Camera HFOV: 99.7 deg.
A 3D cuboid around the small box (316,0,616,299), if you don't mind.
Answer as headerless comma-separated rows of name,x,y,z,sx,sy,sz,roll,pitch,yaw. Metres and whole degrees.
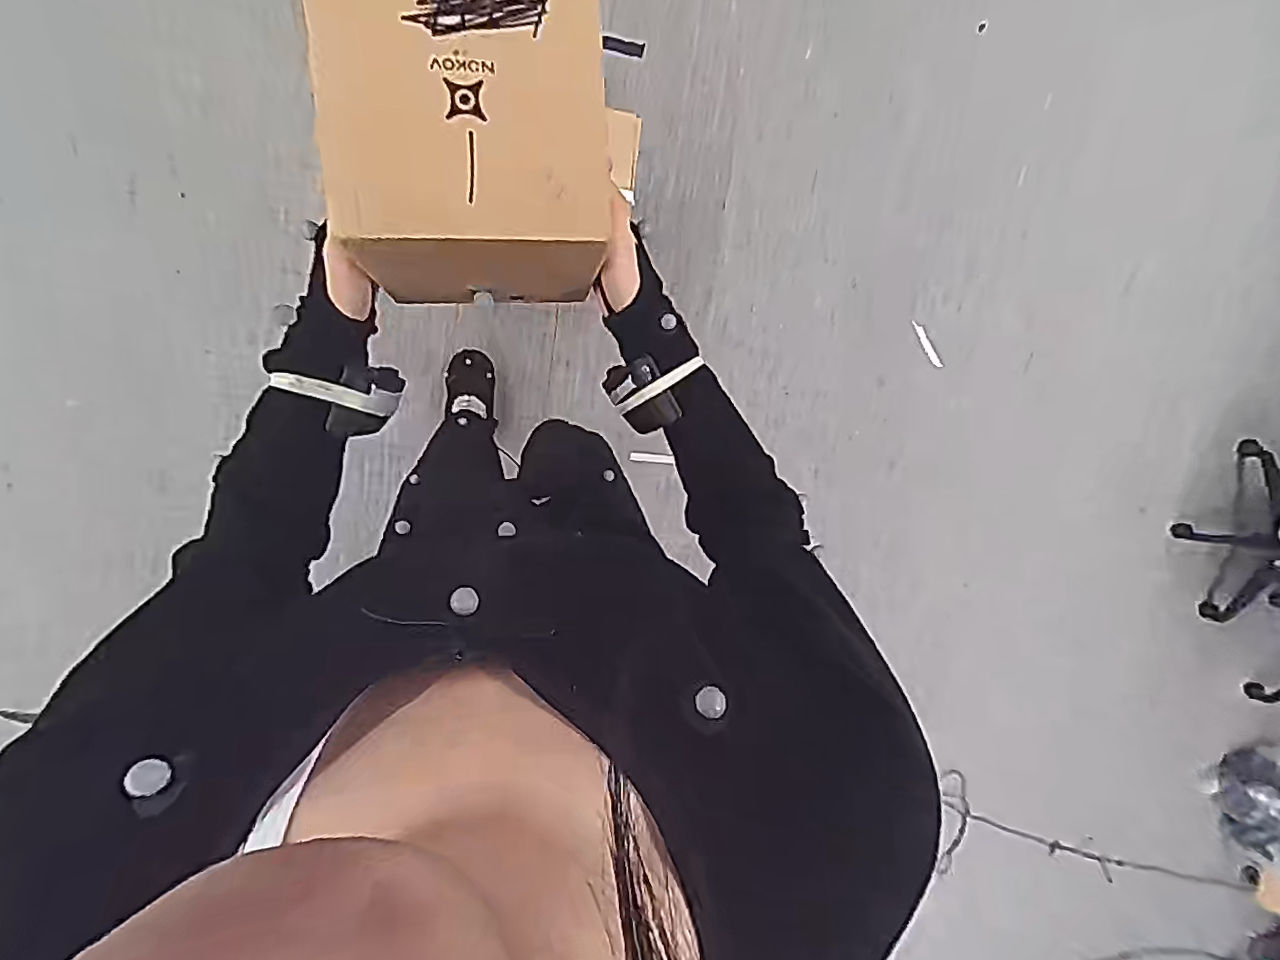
small box,-0.114,-0.242,0.394,0.168,0.176,0.179,-4,97,-11
